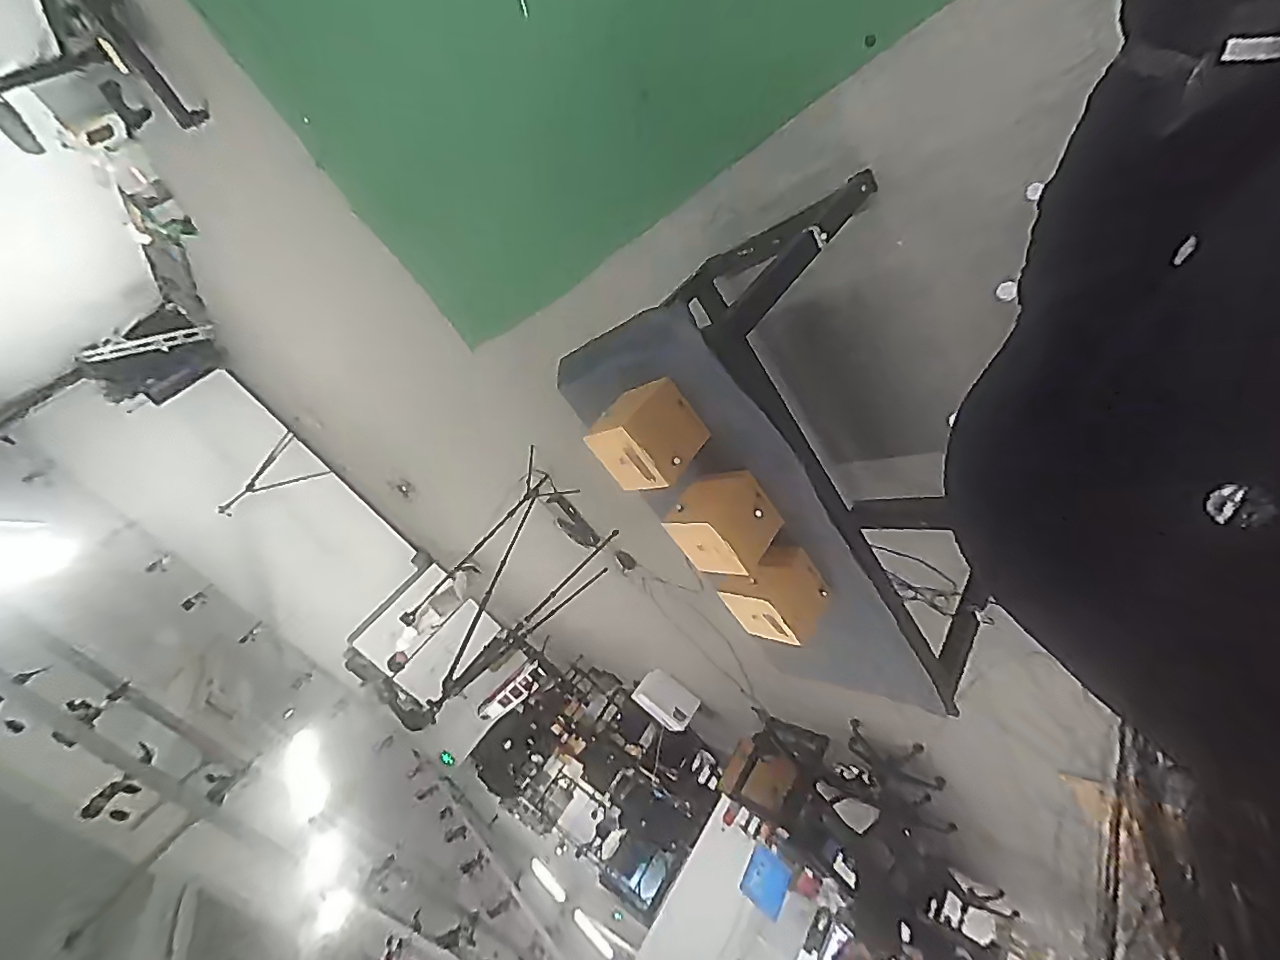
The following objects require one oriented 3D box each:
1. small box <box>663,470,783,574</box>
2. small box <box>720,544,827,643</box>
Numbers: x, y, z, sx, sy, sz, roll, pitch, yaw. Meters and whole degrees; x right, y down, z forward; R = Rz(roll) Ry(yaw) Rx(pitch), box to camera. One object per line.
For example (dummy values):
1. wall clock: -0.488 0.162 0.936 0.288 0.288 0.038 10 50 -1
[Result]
1. small box: 0.194 0.095 1.252 0.168 0.176 0.179 51 151 -20
2. small box: 0.337 0.272 1.338 0.179 0.176 0.168 -5 128 55
